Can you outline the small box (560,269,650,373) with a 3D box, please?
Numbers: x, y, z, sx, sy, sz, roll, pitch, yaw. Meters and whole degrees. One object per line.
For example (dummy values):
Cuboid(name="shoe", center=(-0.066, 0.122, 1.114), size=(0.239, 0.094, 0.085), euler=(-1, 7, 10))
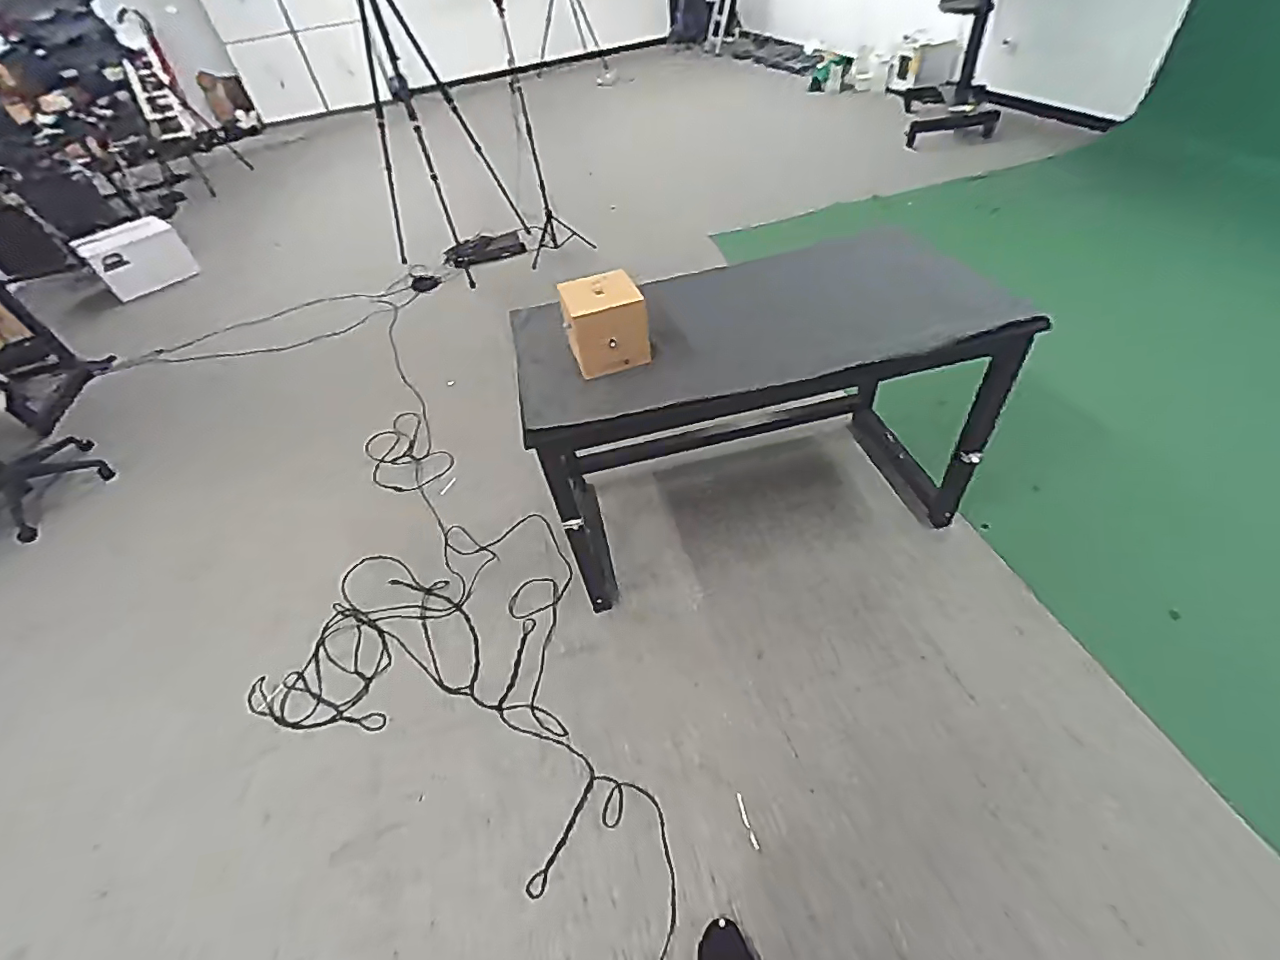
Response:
Cuboid(name="small box", center=(-0.080, -0.370, 1.286), size=(0.168, 0.176, 0.179), euler=(-16, 45, -8))
